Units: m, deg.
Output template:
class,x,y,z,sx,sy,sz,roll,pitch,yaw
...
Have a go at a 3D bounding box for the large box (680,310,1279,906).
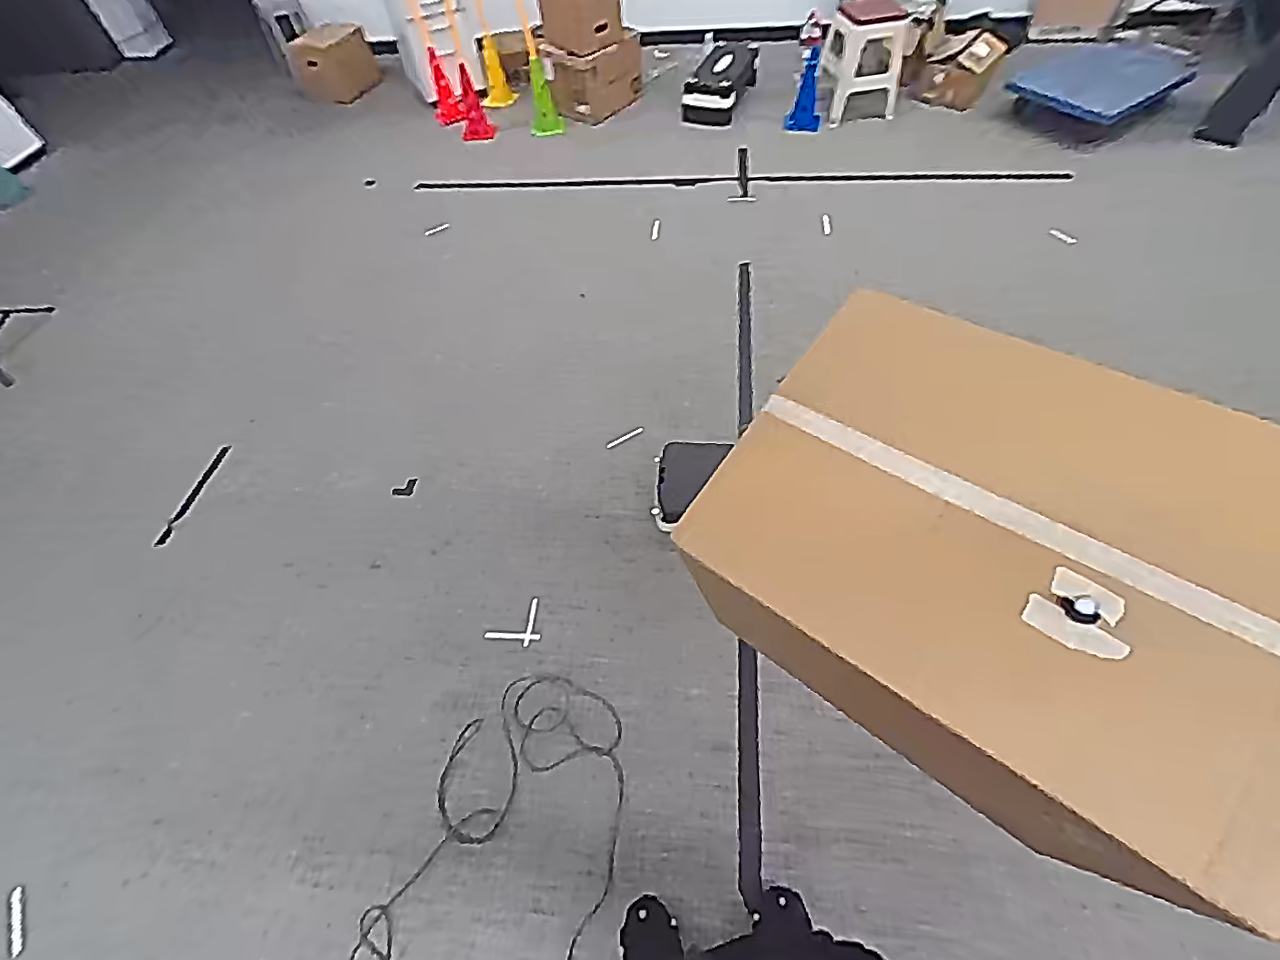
class,x,y,z,sx,sy,sz,roll,pitch,yaw
large box,0.307,0.098,0.547,0.408,0.320,0.320,31,76,27
